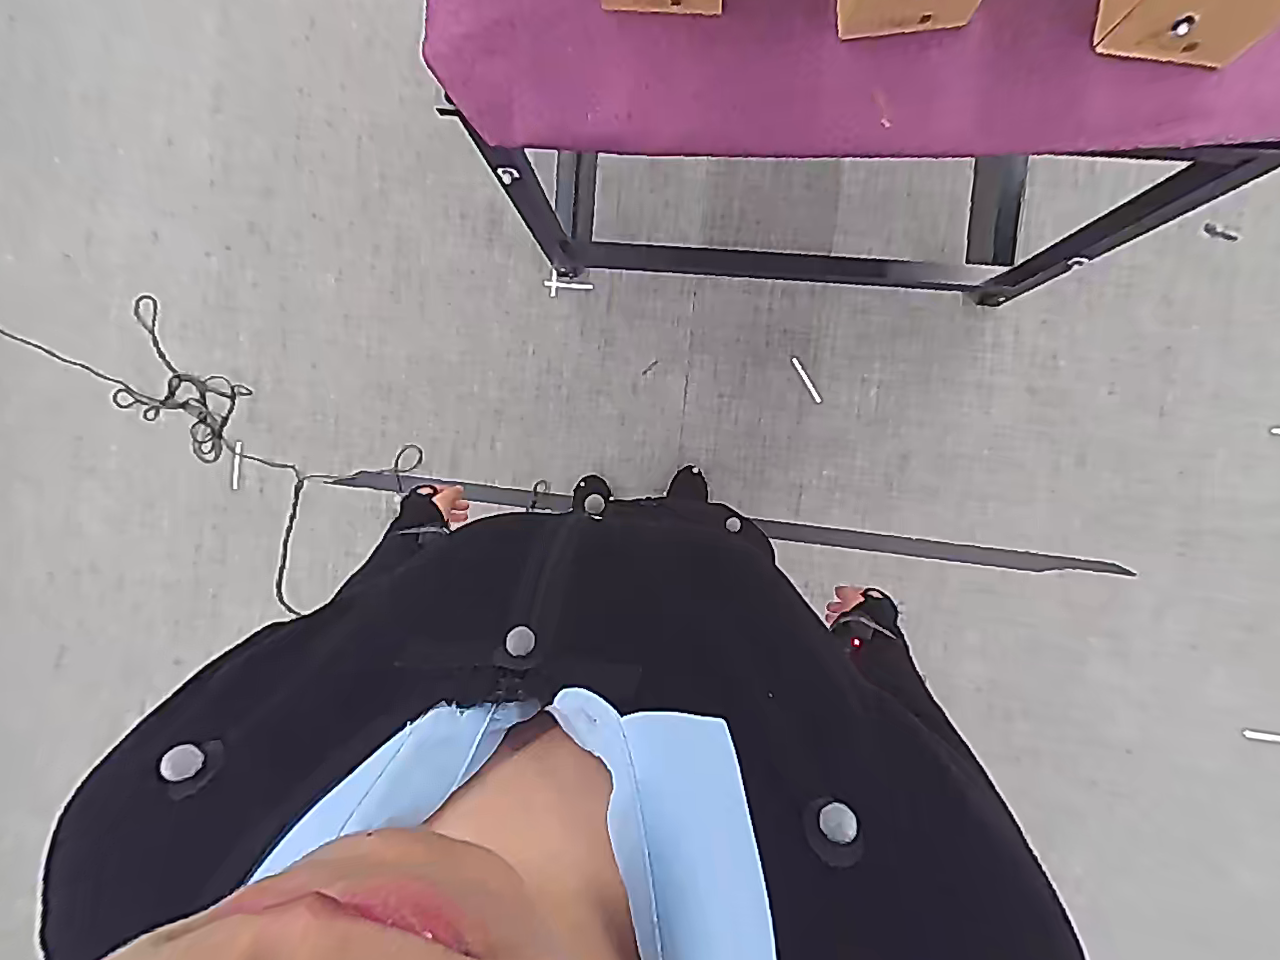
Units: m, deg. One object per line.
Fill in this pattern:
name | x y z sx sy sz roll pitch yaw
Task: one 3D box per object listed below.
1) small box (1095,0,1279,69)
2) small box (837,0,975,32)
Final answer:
small box | 0.680 -0.632 0.625 0.168 0.176 0.179 10 91 3
small box | 0.339 -0.679 0.642 0.168 0.176 0.179 -3 91 3
